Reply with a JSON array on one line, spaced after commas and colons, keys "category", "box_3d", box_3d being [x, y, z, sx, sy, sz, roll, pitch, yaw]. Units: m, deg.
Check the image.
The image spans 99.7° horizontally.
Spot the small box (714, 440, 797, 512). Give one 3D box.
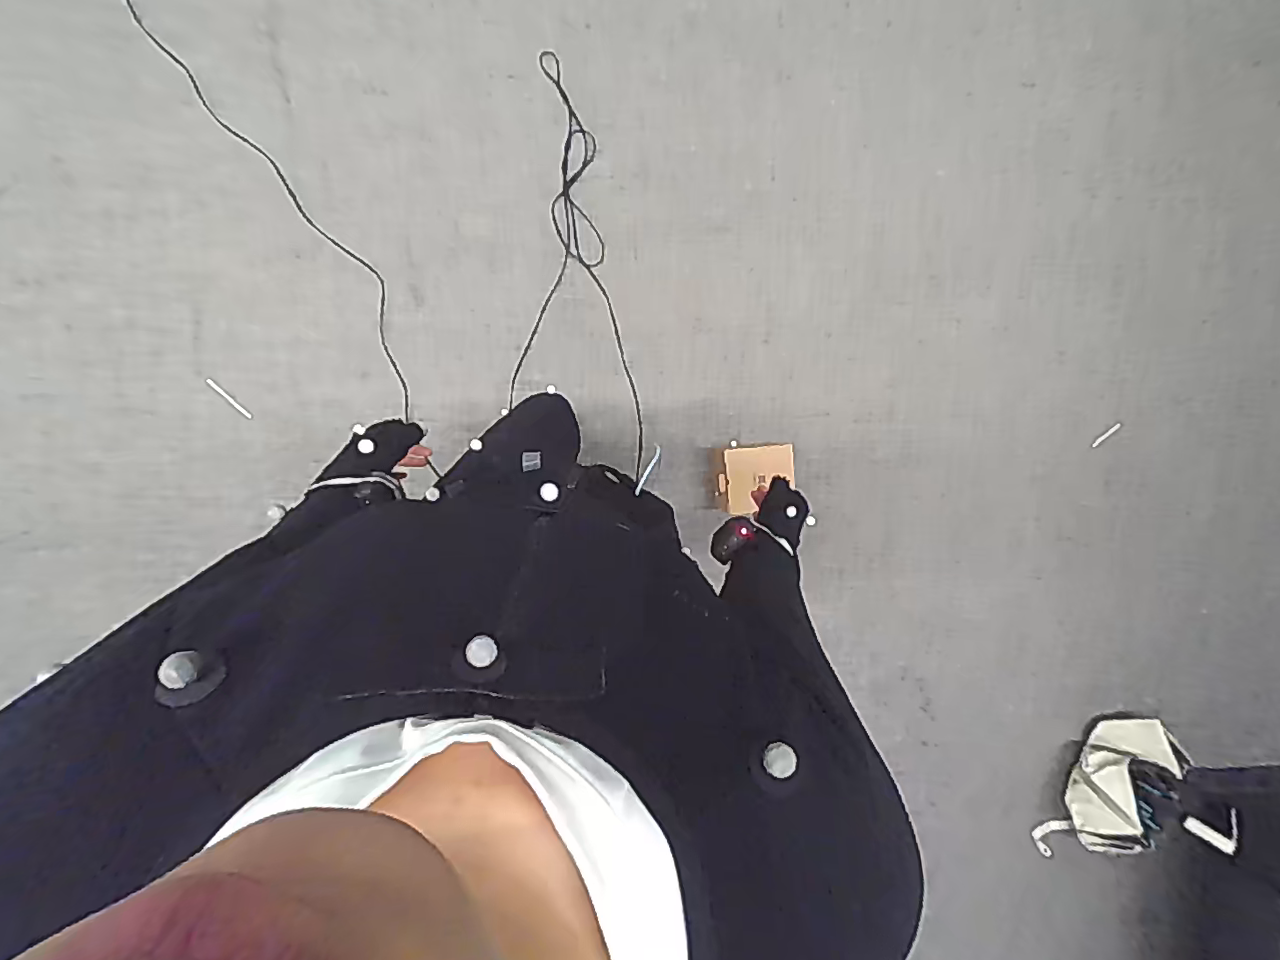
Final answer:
[{"category": "small box", "box_3d": [0.293, -0.014, 1.405, 0.179, 0.176, 0.168, -5, 96, -3]}]
